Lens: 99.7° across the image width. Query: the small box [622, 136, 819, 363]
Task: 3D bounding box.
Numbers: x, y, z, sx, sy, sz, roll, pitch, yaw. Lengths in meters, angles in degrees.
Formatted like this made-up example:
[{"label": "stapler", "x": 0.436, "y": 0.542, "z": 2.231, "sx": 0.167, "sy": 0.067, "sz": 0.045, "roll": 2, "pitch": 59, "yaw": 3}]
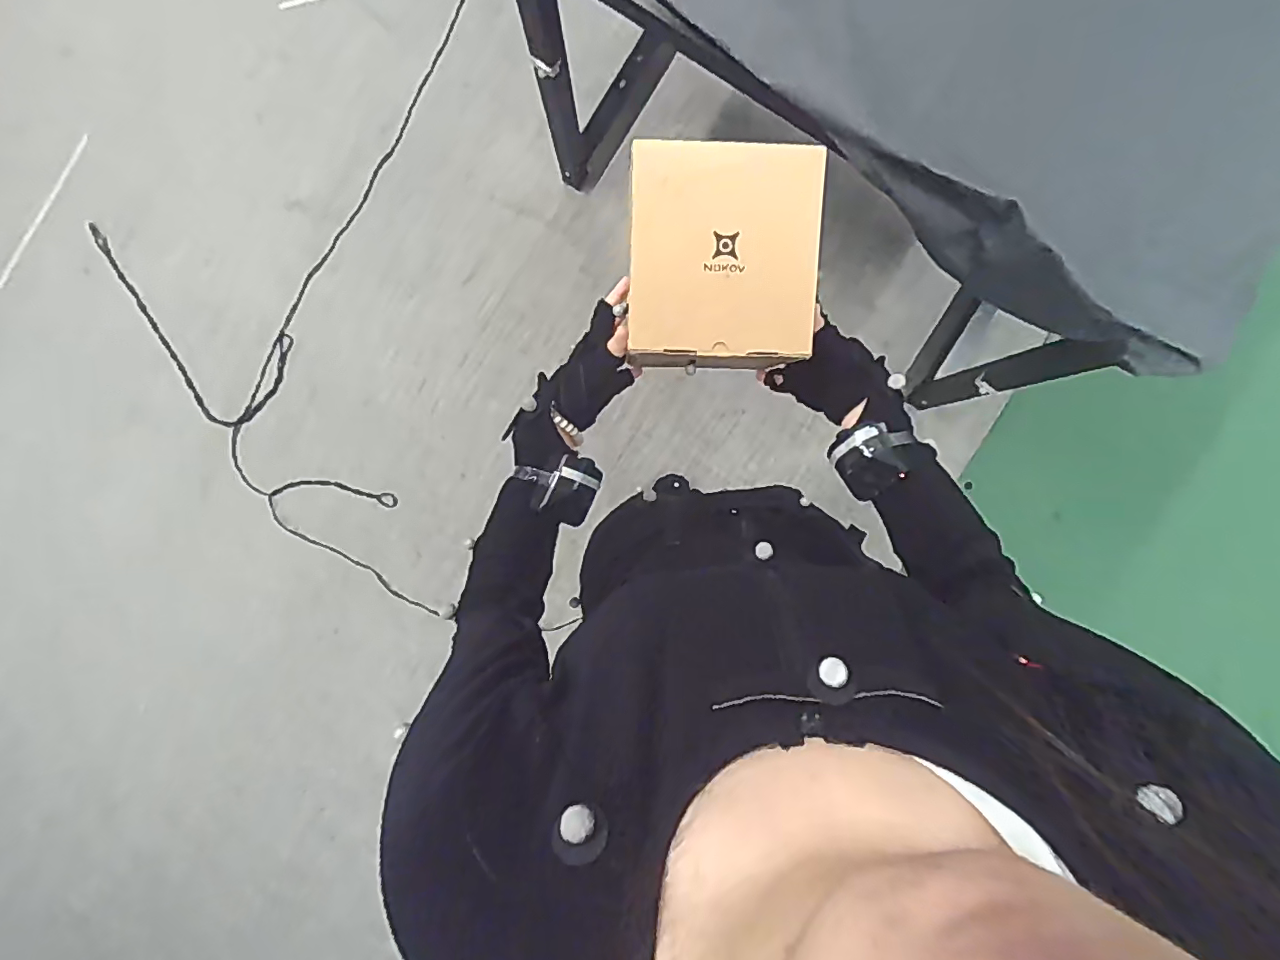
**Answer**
[{"label": "small box", "x": 0.067, "y": -0.216, "z": 0.553, "sx": 0.168, "sy": 0.176, "sz": 0.179, "roll": 2, "pitch": 100, "yaw": -3}]
